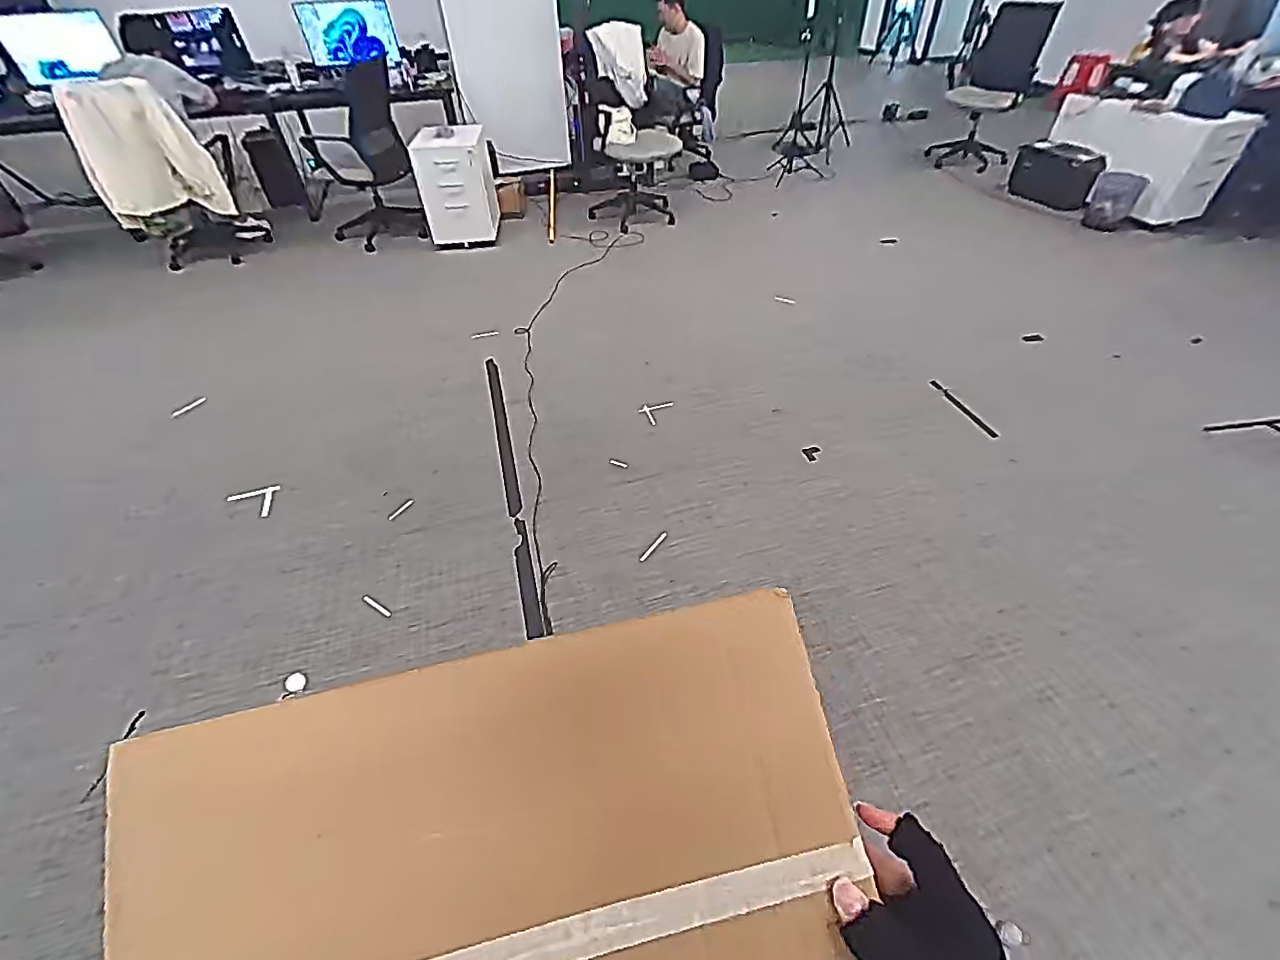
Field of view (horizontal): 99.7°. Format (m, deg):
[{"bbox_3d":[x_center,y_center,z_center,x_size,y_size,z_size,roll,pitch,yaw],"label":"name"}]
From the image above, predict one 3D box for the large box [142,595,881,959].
[{"bbox_3d":[-0.075,0.302,0.443,0.408,0.320,0.320,-12,76,-5],"label":"large box"}]
